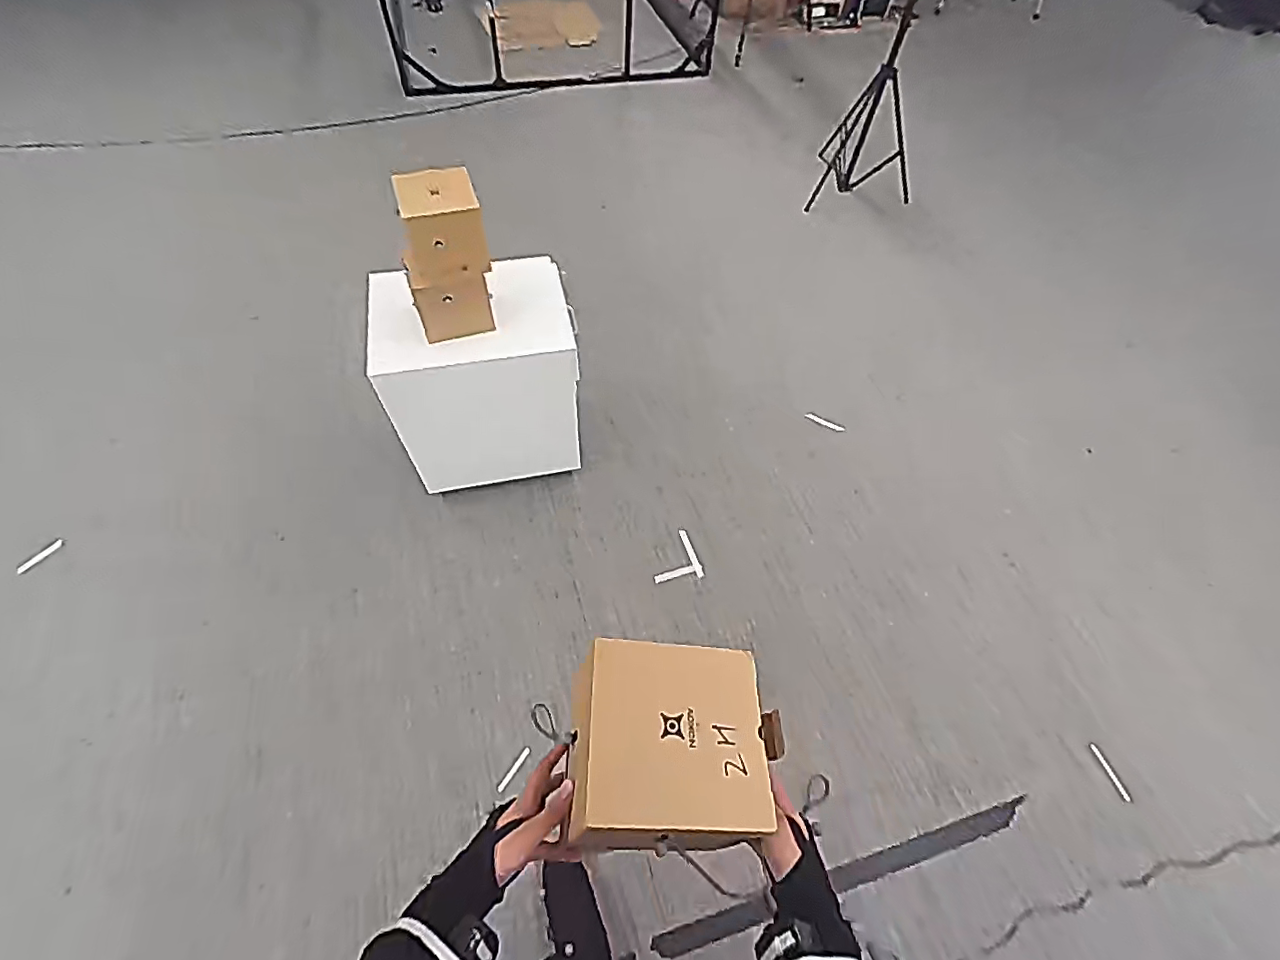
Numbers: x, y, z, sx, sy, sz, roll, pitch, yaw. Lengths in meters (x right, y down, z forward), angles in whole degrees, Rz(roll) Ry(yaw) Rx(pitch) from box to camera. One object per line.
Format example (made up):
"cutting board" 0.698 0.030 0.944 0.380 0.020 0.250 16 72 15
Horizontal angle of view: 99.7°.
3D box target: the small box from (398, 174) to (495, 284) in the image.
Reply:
"small box" -0.445 -0.577 1.260 0.168 0.176 0.179 -15 58 -14

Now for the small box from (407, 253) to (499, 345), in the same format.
"small box" -0.474 -0.469 1.381 0.179 0.176 0.168 -16 59 -15

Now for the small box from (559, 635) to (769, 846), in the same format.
"small box" 0.013 0.282 0.574 0.179 0.176 0.168 9 50 -11
